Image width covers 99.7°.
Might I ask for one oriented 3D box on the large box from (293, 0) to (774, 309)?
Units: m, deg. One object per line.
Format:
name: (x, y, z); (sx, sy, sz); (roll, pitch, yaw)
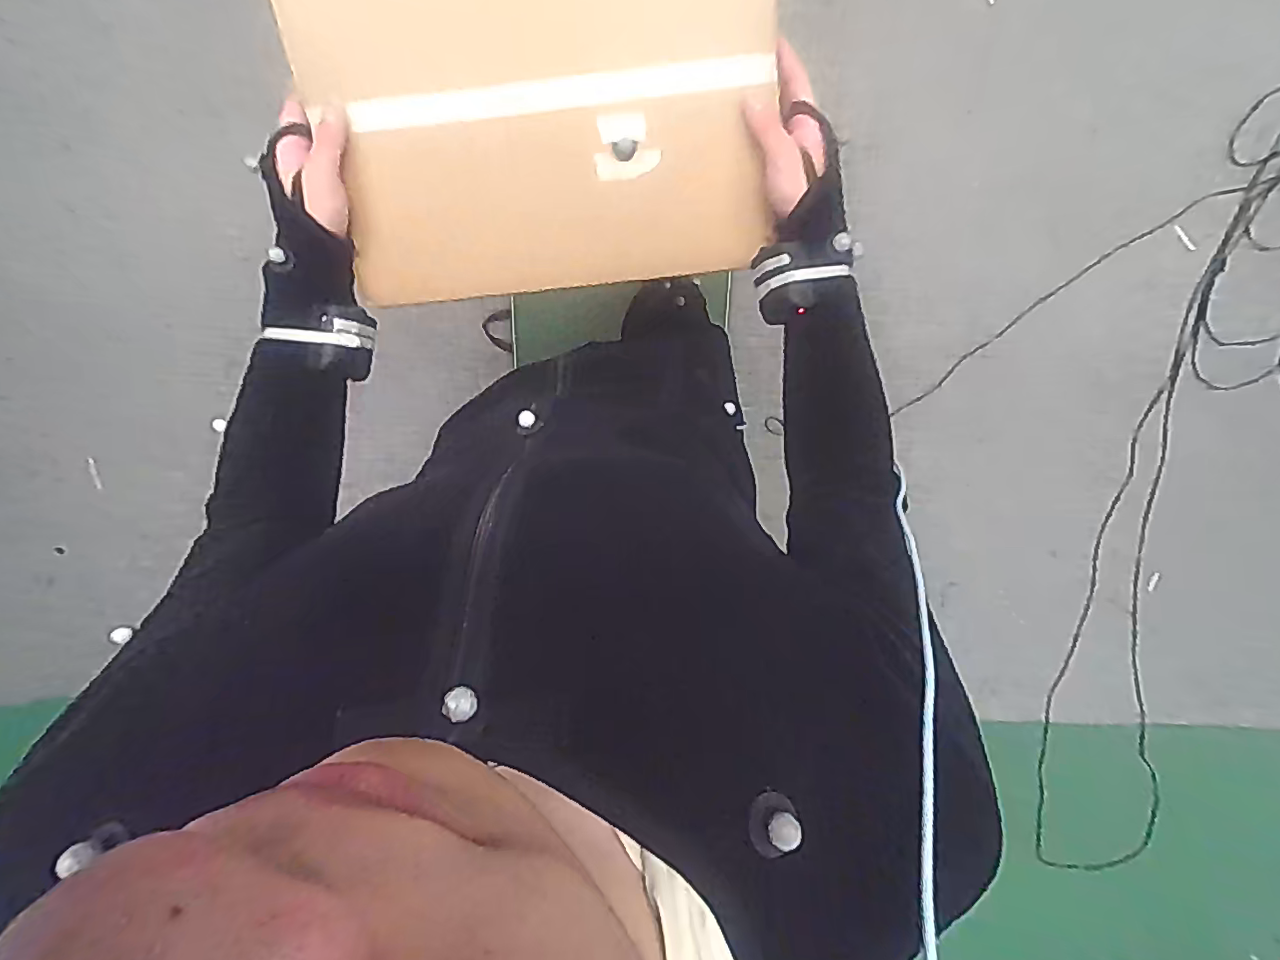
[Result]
large box: (-0.089, -0.391, 0.620); (0.408, 0.320, 0.320); (-7, 113, 0)
